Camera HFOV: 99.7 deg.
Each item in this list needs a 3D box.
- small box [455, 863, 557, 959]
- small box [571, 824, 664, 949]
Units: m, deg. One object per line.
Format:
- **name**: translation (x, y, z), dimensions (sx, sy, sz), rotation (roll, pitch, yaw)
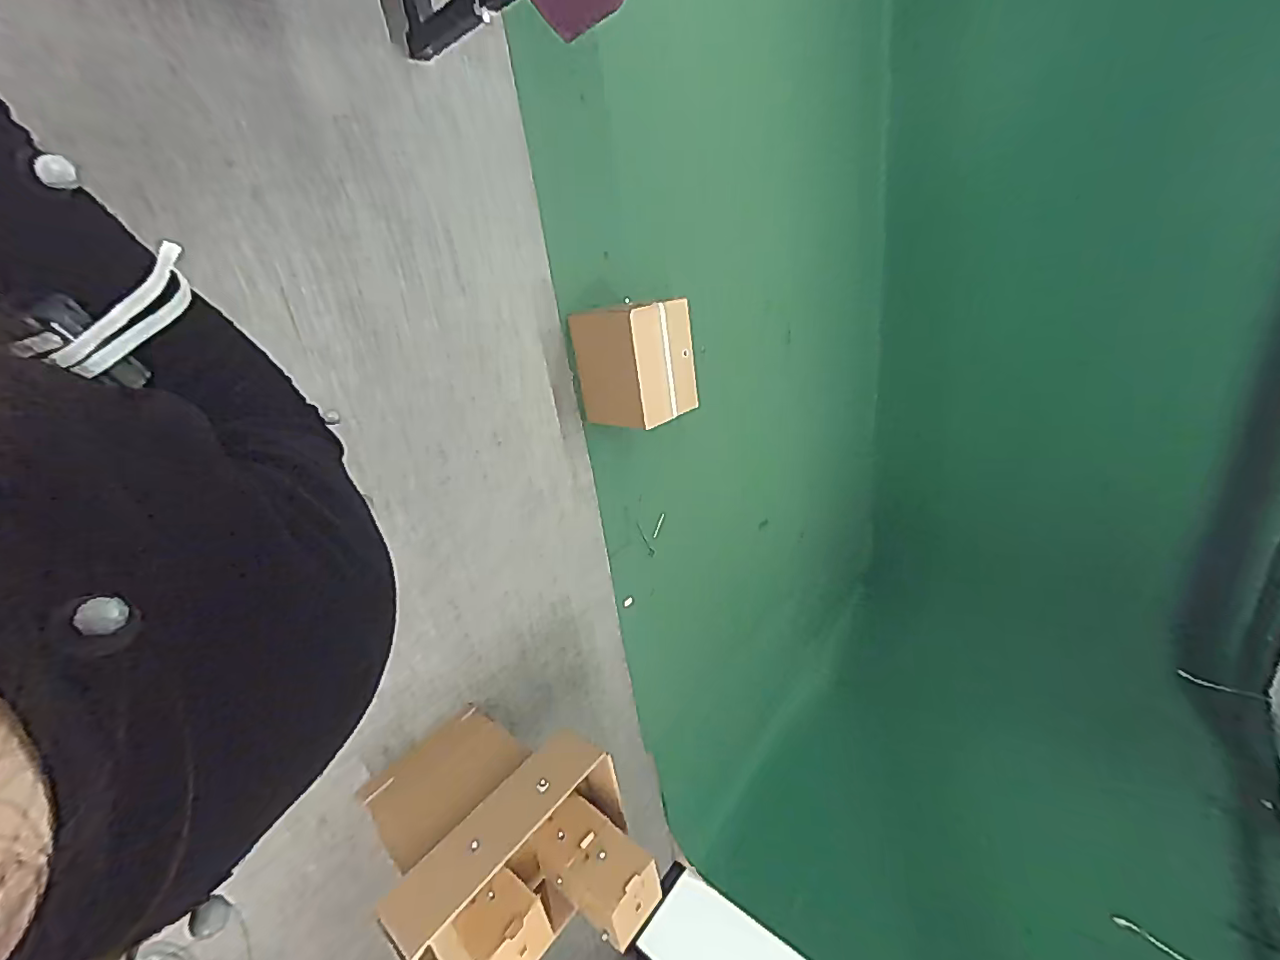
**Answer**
- **small box**: translation (-0.343, 1.139, 1.384), dimensions (0.168, 0.176, 0.179), rotation (-33, 122, -41)
- **small box**: translation (-0.059, 1.070, 1.438), dimensions (0.168, 0.176, 0.179), rotation (-31, 121, -40)
